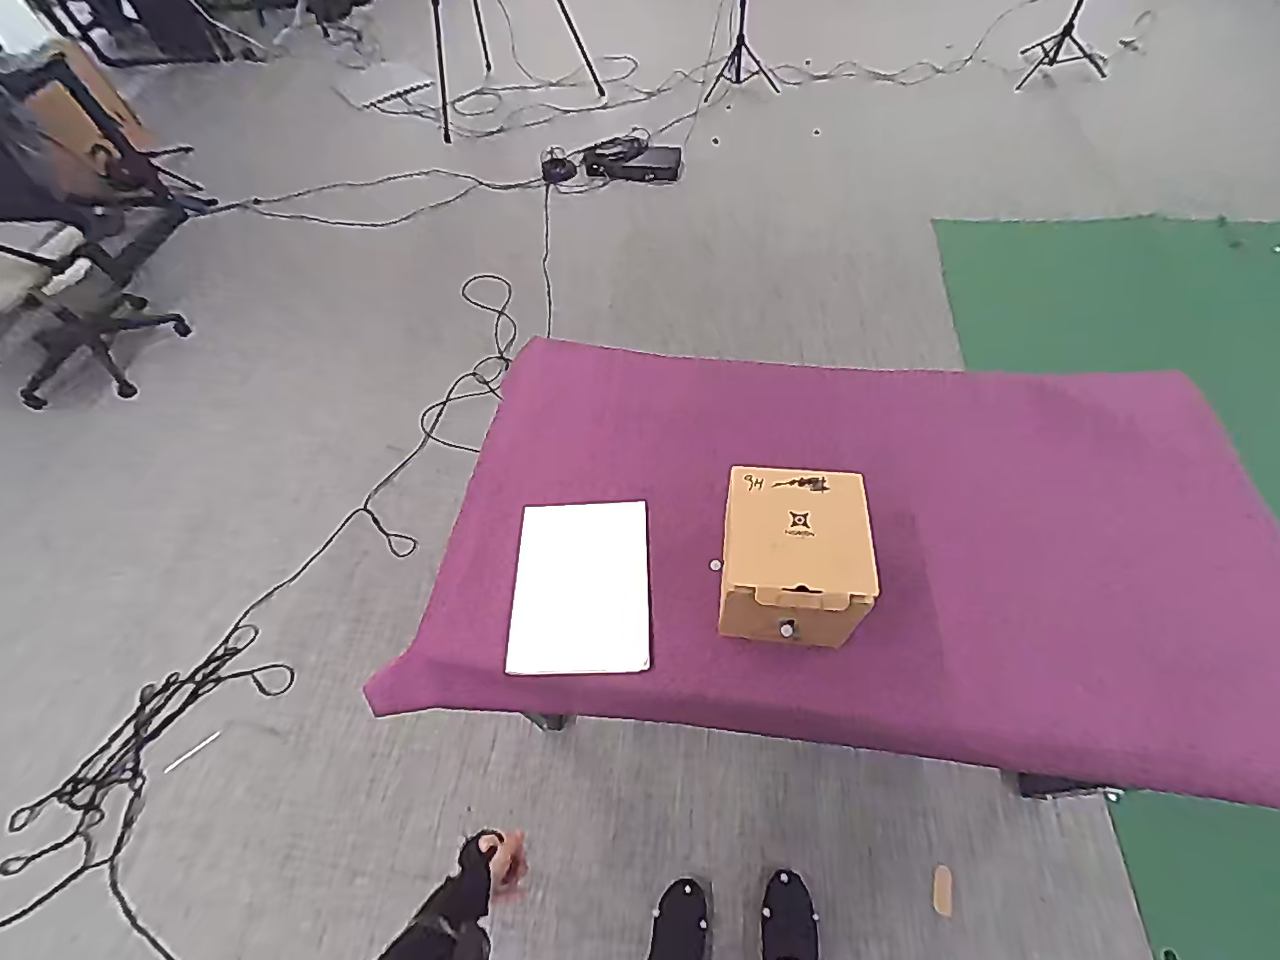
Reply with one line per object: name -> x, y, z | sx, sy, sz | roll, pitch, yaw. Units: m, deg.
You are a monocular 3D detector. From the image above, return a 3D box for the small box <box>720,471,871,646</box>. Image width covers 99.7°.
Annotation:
small box -> 0.196, 0.110, 0.722 | 0.168, 0.176, 0.179 | 4, 57, 8
